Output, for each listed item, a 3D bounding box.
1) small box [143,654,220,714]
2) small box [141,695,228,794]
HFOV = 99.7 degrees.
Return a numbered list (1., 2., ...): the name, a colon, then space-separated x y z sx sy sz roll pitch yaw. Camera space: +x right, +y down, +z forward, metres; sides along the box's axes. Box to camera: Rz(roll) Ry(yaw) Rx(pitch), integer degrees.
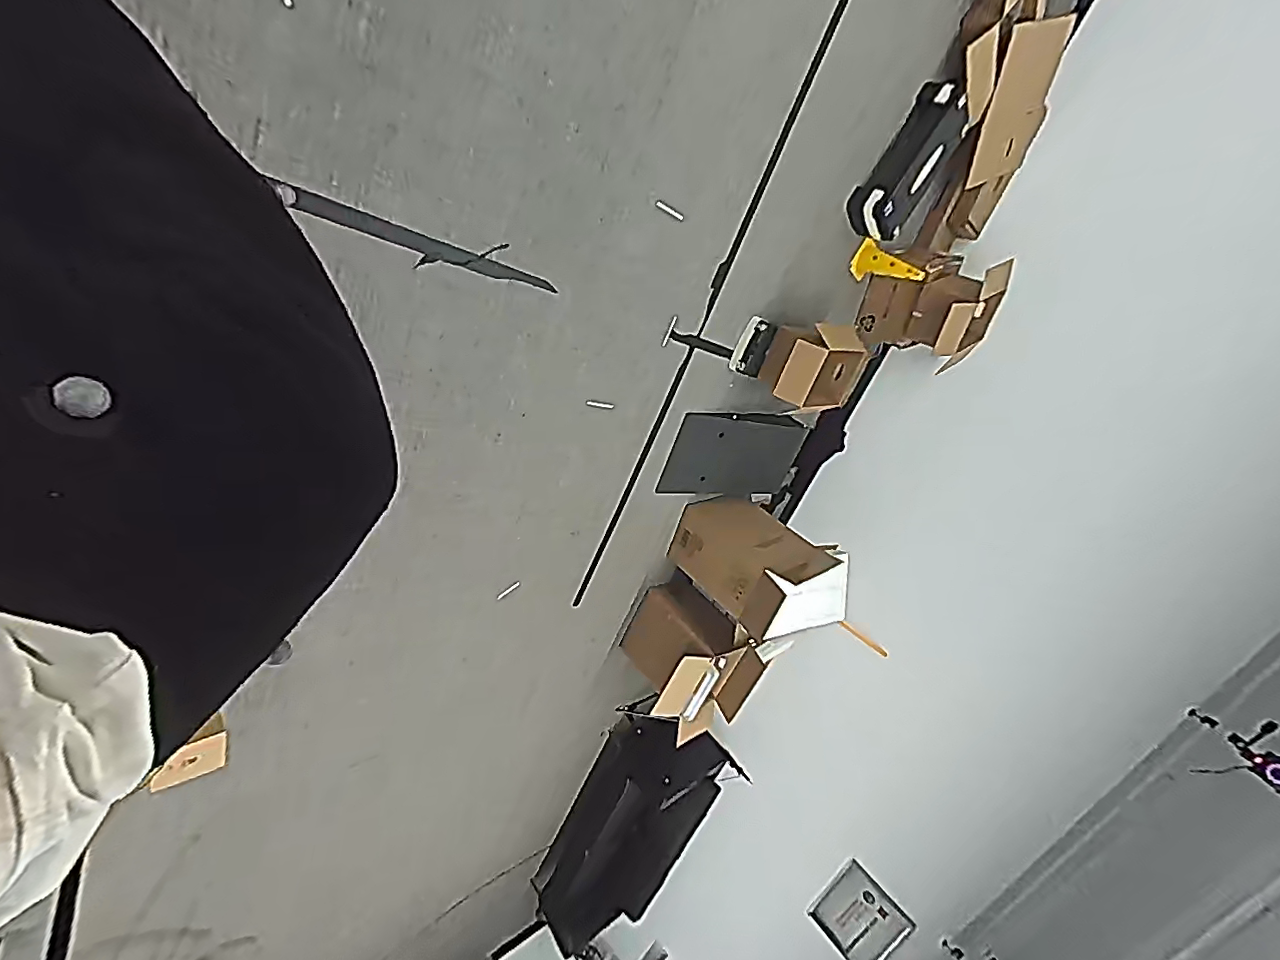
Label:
1. small box: -1.445 0.684 1.703 0.168 0.176 0.179 -5 125 -47
2. small box: -1.350 0.774 1.602 0.179 0.176 0.168 -6 126 -46
